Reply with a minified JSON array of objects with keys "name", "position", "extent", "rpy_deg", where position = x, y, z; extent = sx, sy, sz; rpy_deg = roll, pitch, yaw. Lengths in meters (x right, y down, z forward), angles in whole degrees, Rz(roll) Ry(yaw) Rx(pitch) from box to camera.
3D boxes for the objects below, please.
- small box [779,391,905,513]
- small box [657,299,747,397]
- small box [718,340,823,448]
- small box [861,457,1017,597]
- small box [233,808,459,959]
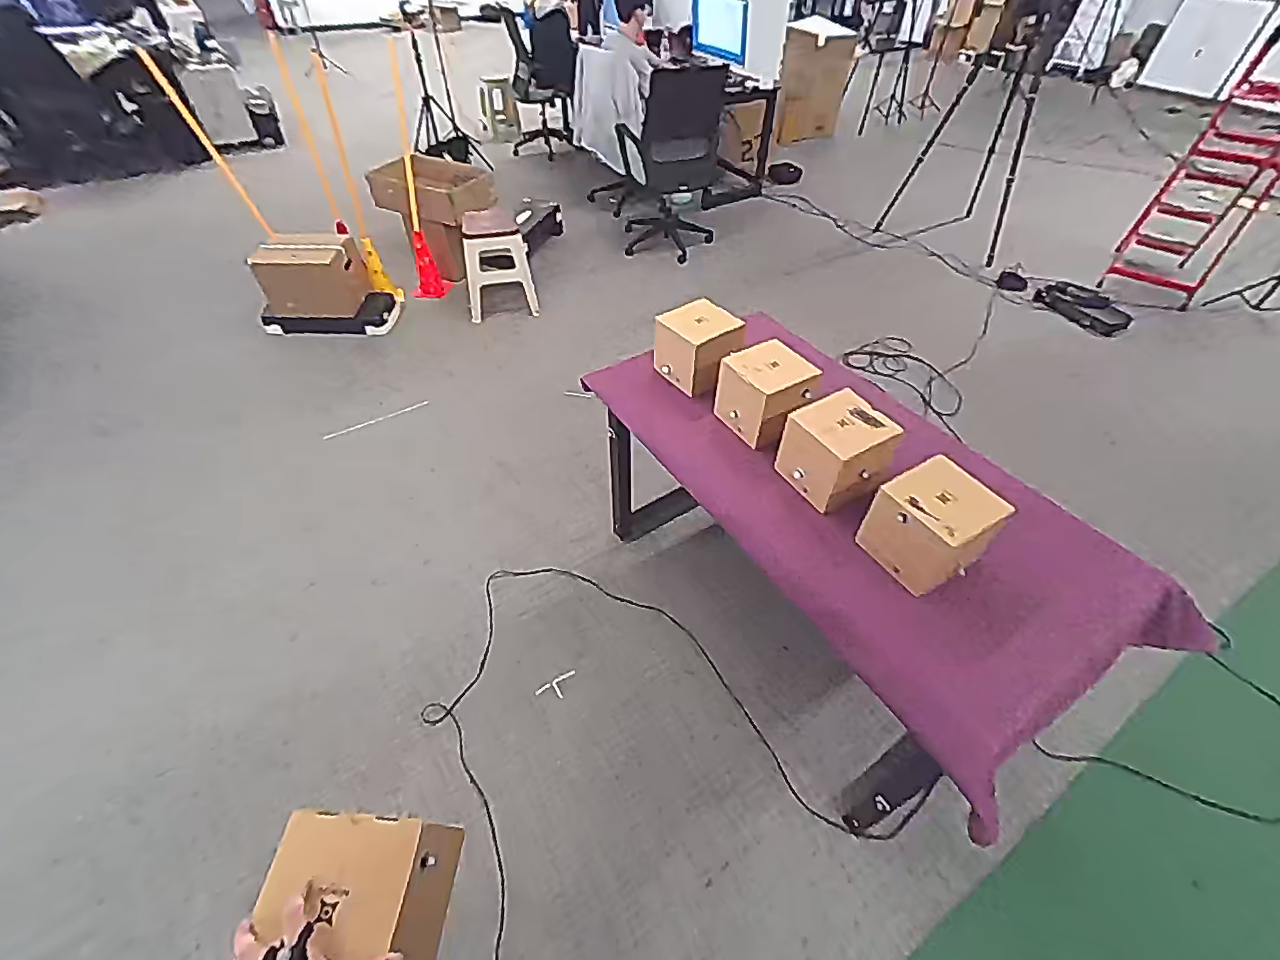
[{"name":"small box","position":[0.430,-0.060,1.183],"extent":[0.179,0.176,0.168],"rpy_deg":[-23,51,-19]},{"name":"small box","position":[0.158,-0.354,1.455],"extent":[0.179,0.176,0.168],"rpy_deg":[-29,53,-24]},{"name":"small box","position":[0.309,-0.208,1.320],"extent":[0.179,0.176,0.168],"rpy_deg":[-24,52,-21]},{"name":"small box","position":[0.561,0.091,1.042],"extent":[0.179,0.176,0.168],"rpy_deg":[-23,50,-21]},{"name":"small box","position":[-0.340,0.514,0.658],"extent":[0.168,0.176,0.179],"rpy_deg":[2,54,4]}]
